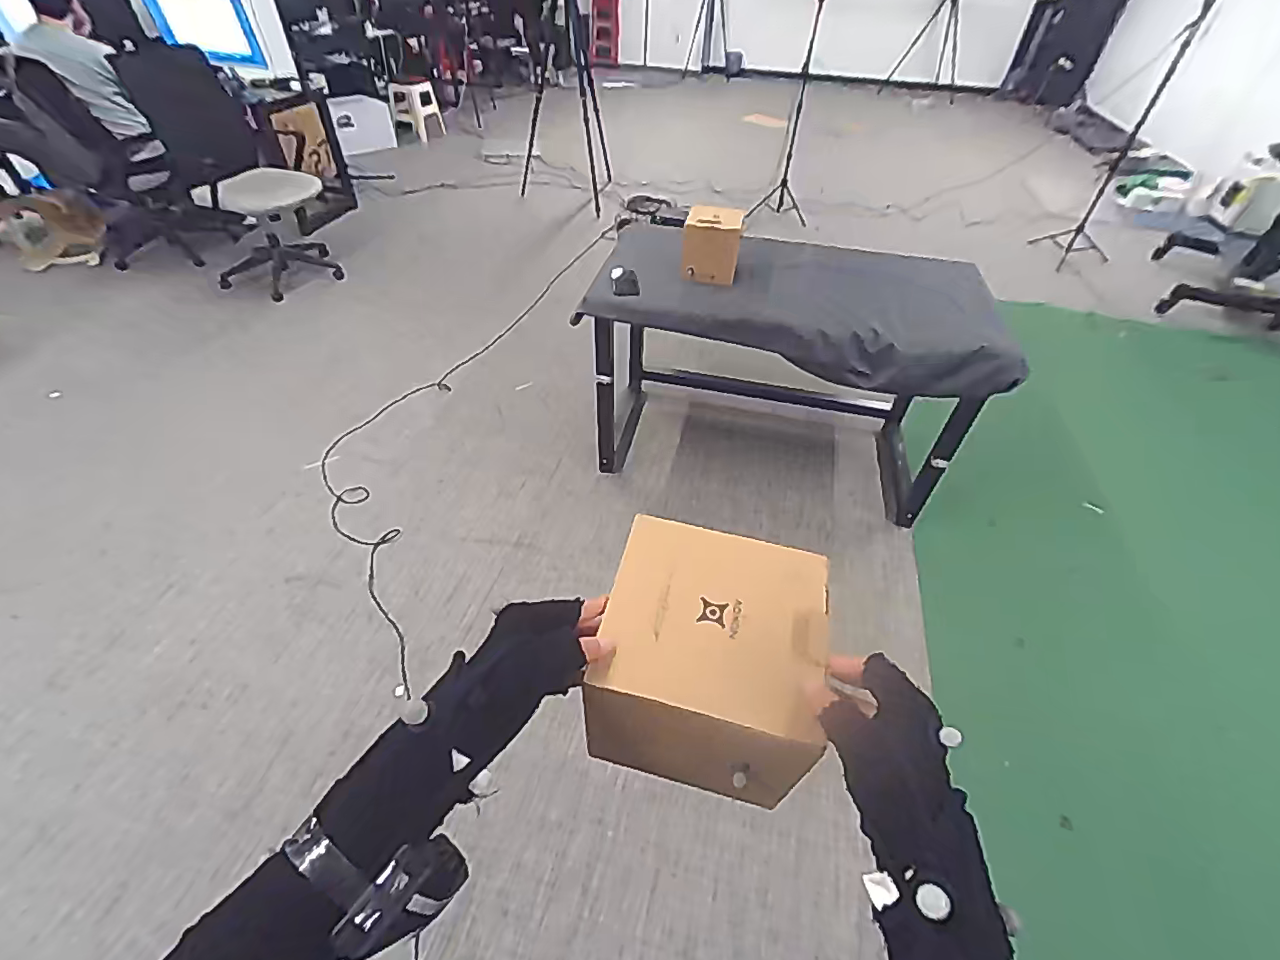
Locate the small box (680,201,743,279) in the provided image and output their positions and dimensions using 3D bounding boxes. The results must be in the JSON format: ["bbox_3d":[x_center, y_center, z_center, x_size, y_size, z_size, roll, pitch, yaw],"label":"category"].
[{"bbox_3d":[0.222,-0.747,1.686,0.168,0.176,0.179,10,45,7],"label":"small box"}]
